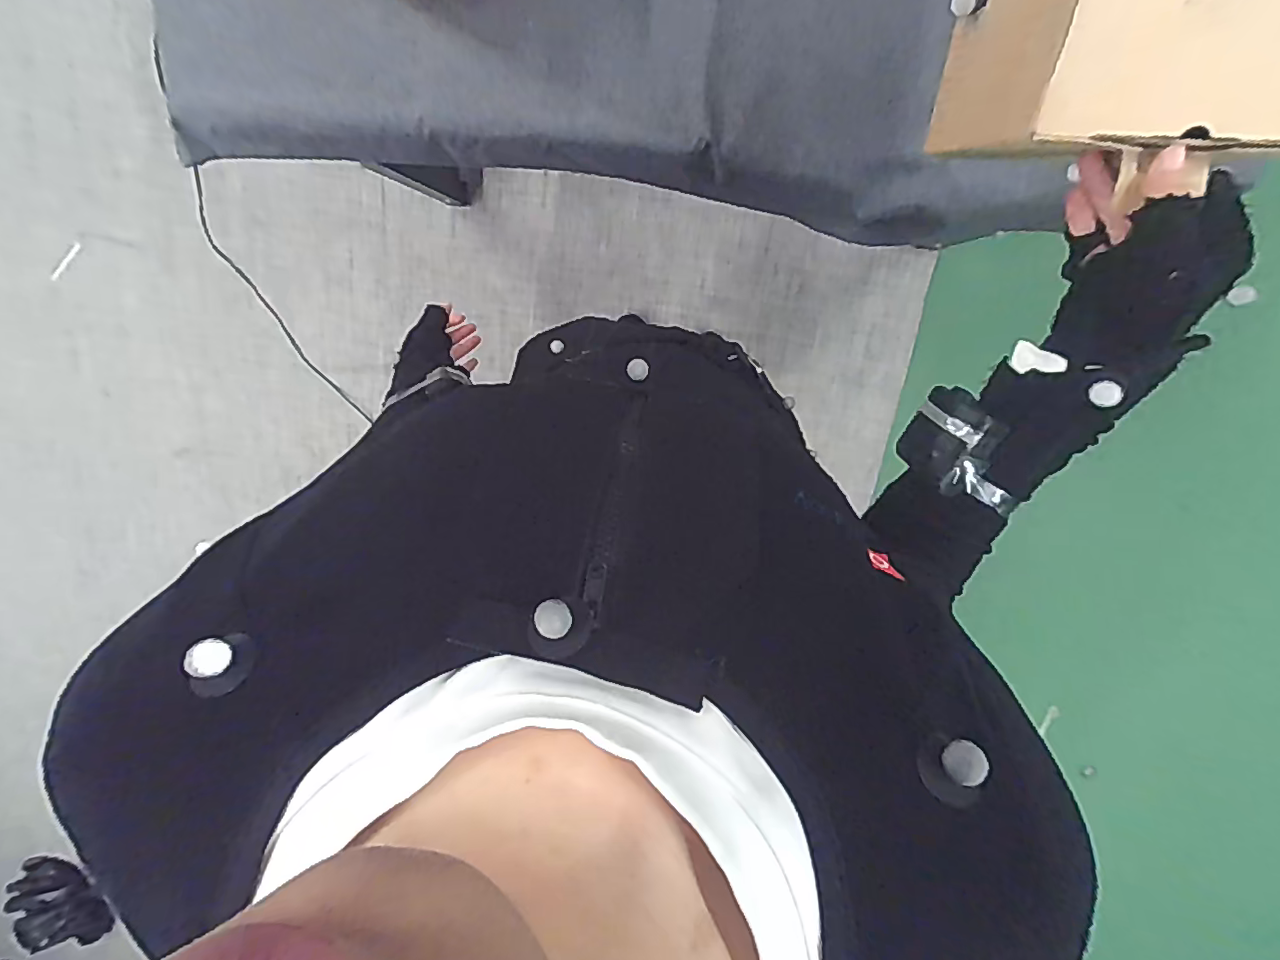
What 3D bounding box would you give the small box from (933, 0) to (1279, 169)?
[{"bbox_3d":[0.302,-0.288,0.319,0.168,0.176,0.179,5,119,4],"label":"small box"}]
